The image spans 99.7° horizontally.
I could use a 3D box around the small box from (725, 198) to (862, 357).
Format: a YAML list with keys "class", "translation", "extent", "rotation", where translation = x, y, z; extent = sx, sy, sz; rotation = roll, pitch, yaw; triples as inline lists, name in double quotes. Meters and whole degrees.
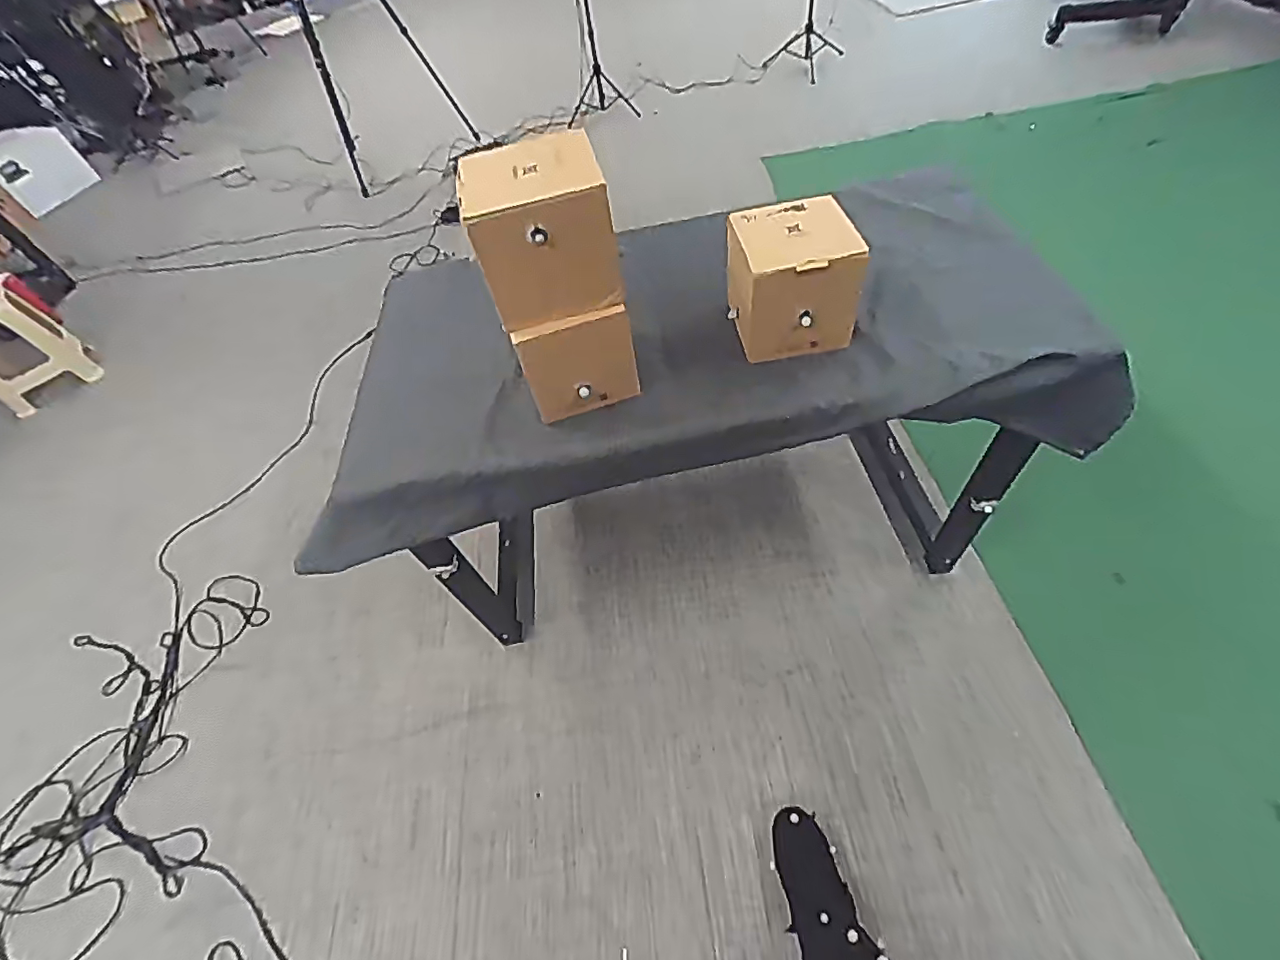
- class: "small box"
  translation: [0.235, -0.316, 0.871]
  extent: [0.168, 0.176, 0.179]
  rotation: [-10, 53, 2]

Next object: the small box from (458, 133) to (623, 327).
- class: "small box"
  translation: [-0.131, -0.333, 0.737]
  extent: [0.179, 0.176, 0.168]
  rotation: [-14, 54, -3]

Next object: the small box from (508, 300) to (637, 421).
- class: "small box"
  translation: [-0.112, -0.224, 0.857]
  extent: [0.168, 0.176, 0.179]
  rotation: [-18, 54, -4]
